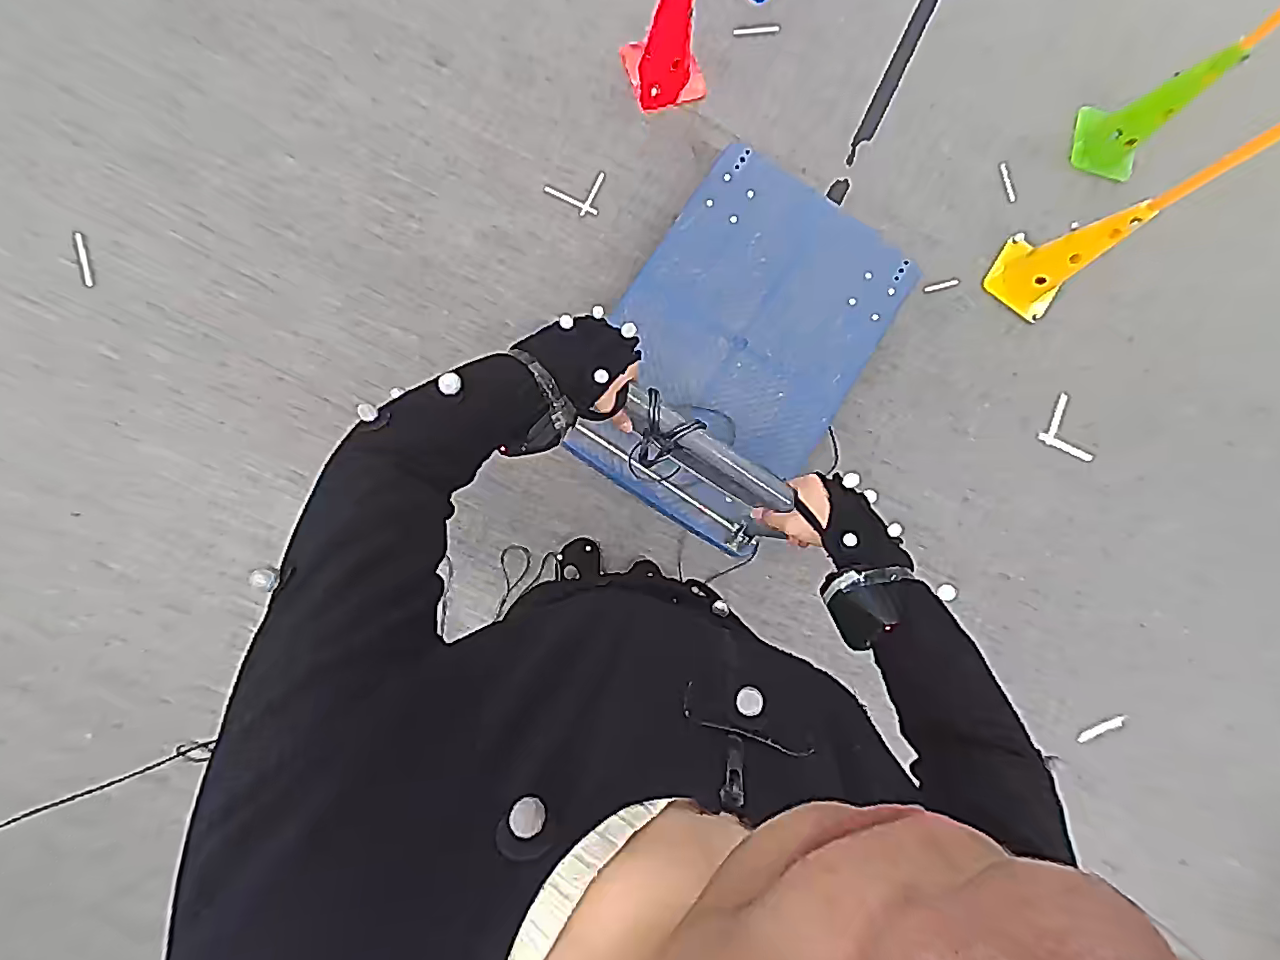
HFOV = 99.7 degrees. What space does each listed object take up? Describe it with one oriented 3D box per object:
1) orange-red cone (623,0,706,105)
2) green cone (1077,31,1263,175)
[{"bbox_3d":[0.088,-1.149,1.315,0.199,0.360,0.198,-19,89,-8],"label":"orange-red cone"},{"bbox_3d":[1.425,-1.034,1.446,0.200,0.368,0.202,12,86,-5],"label":"green cone"}]
